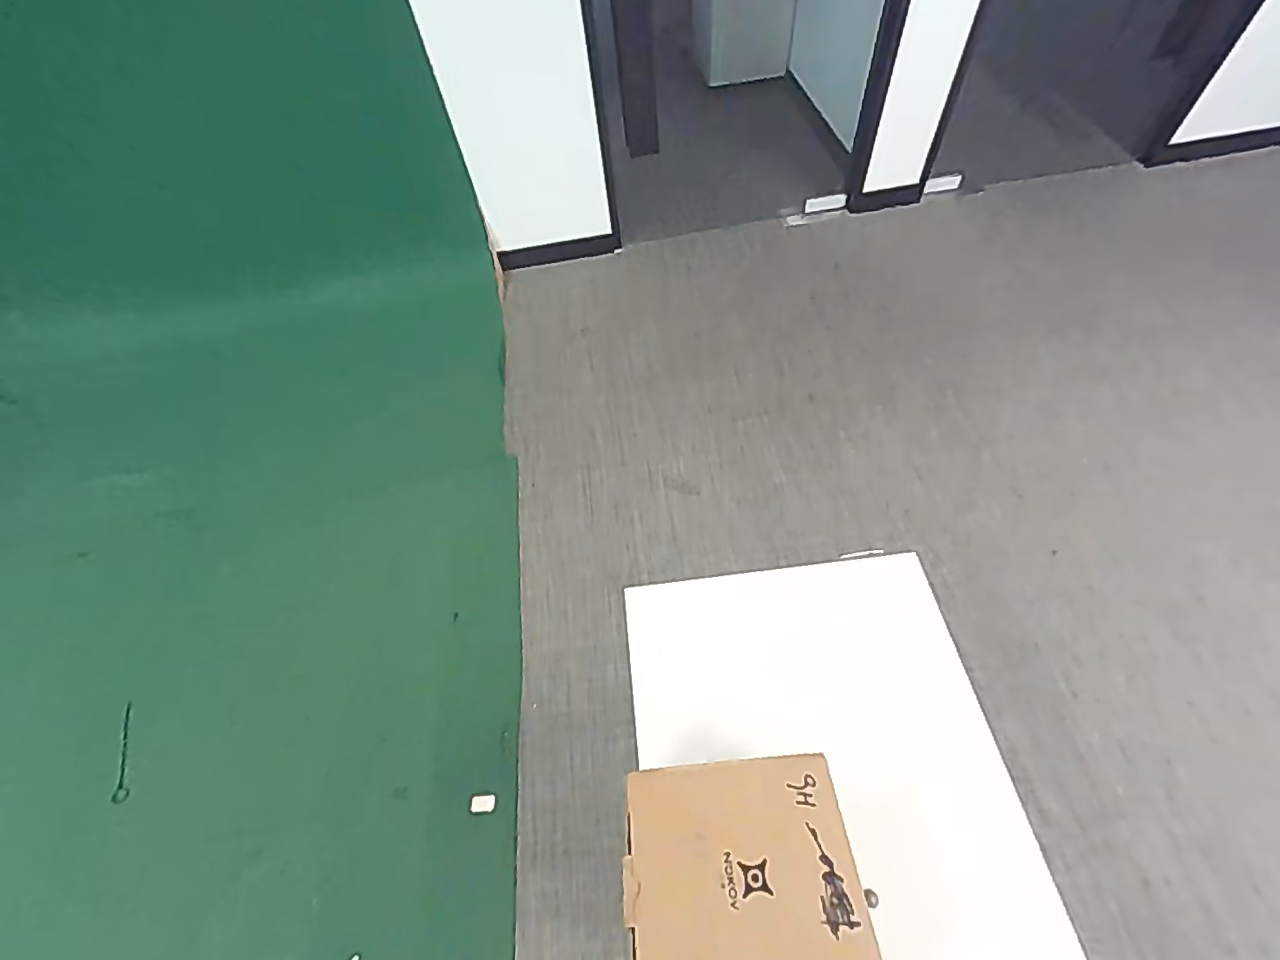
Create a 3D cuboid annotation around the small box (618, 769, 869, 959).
[{"bbox_3d":[0.078,0.368,0.465,0.179,0.176,0.168,-5,47,1],"label":"small box"}]
